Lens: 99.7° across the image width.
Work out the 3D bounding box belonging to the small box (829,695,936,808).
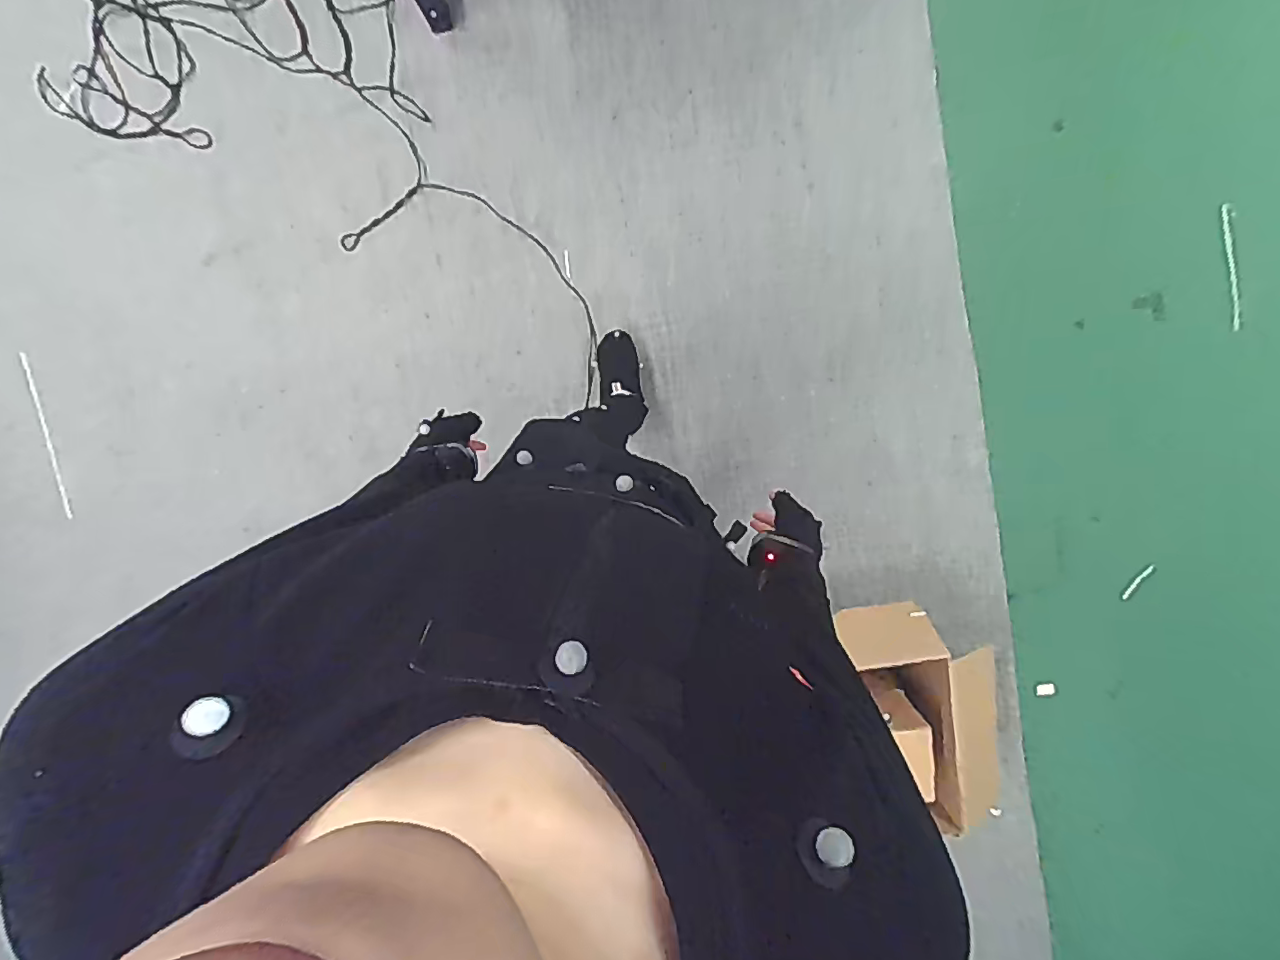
[{"bbox_3d":[0.537,0.607,1.223,0.179,0.176,0.168,-6,94,3],"label":"small box"}]
